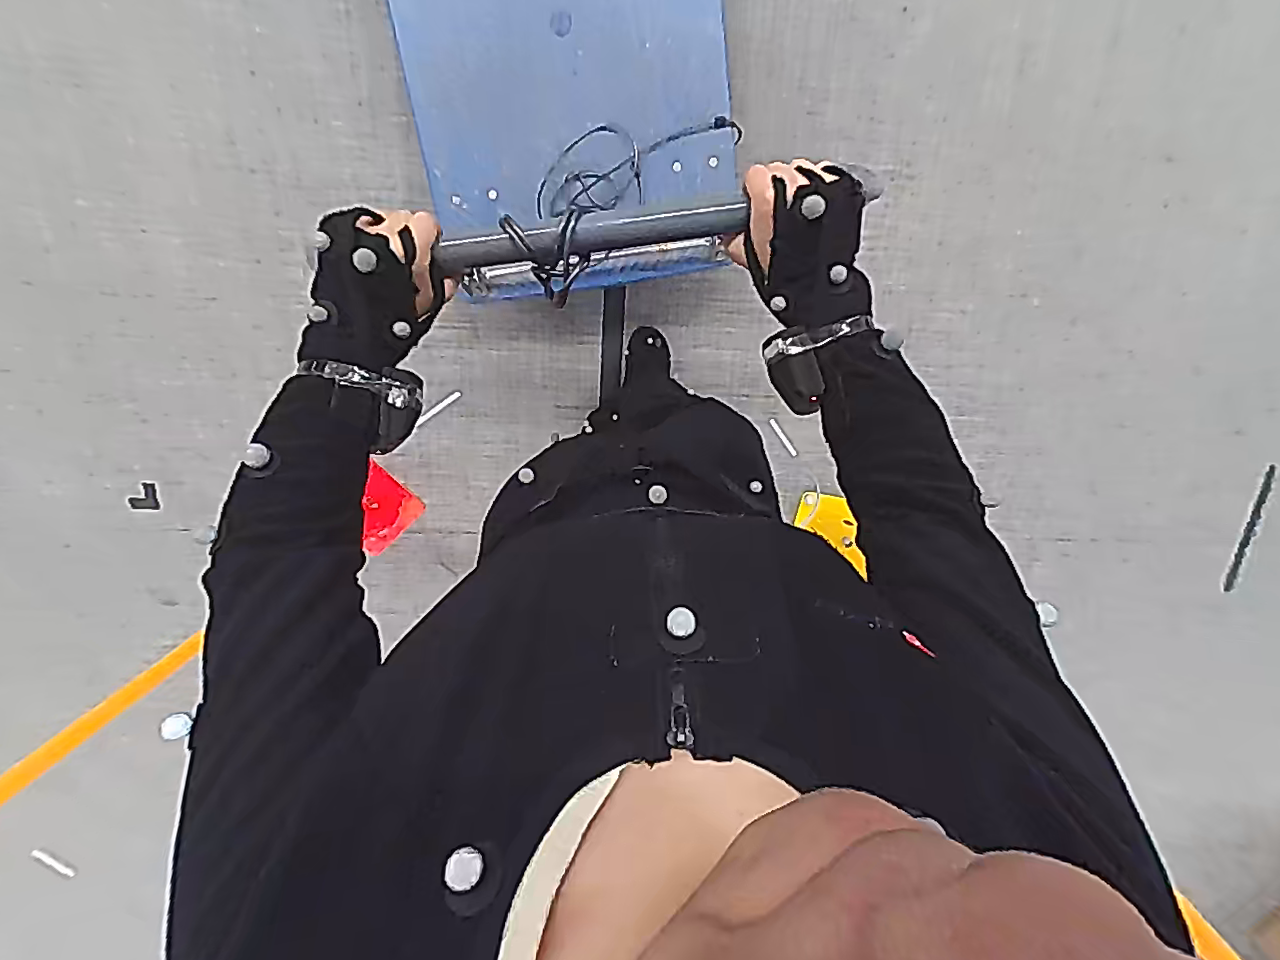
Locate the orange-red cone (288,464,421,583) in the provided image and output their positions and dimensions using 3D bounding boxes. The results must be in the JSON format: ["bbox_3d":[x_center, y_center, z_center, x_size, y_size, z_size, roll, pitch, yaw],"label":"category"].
[{"bbox_3d":[-0.661,0.126,1.183,0.199,0.360,0.198,-42,106,7],"label":"orange-red cone"}]
